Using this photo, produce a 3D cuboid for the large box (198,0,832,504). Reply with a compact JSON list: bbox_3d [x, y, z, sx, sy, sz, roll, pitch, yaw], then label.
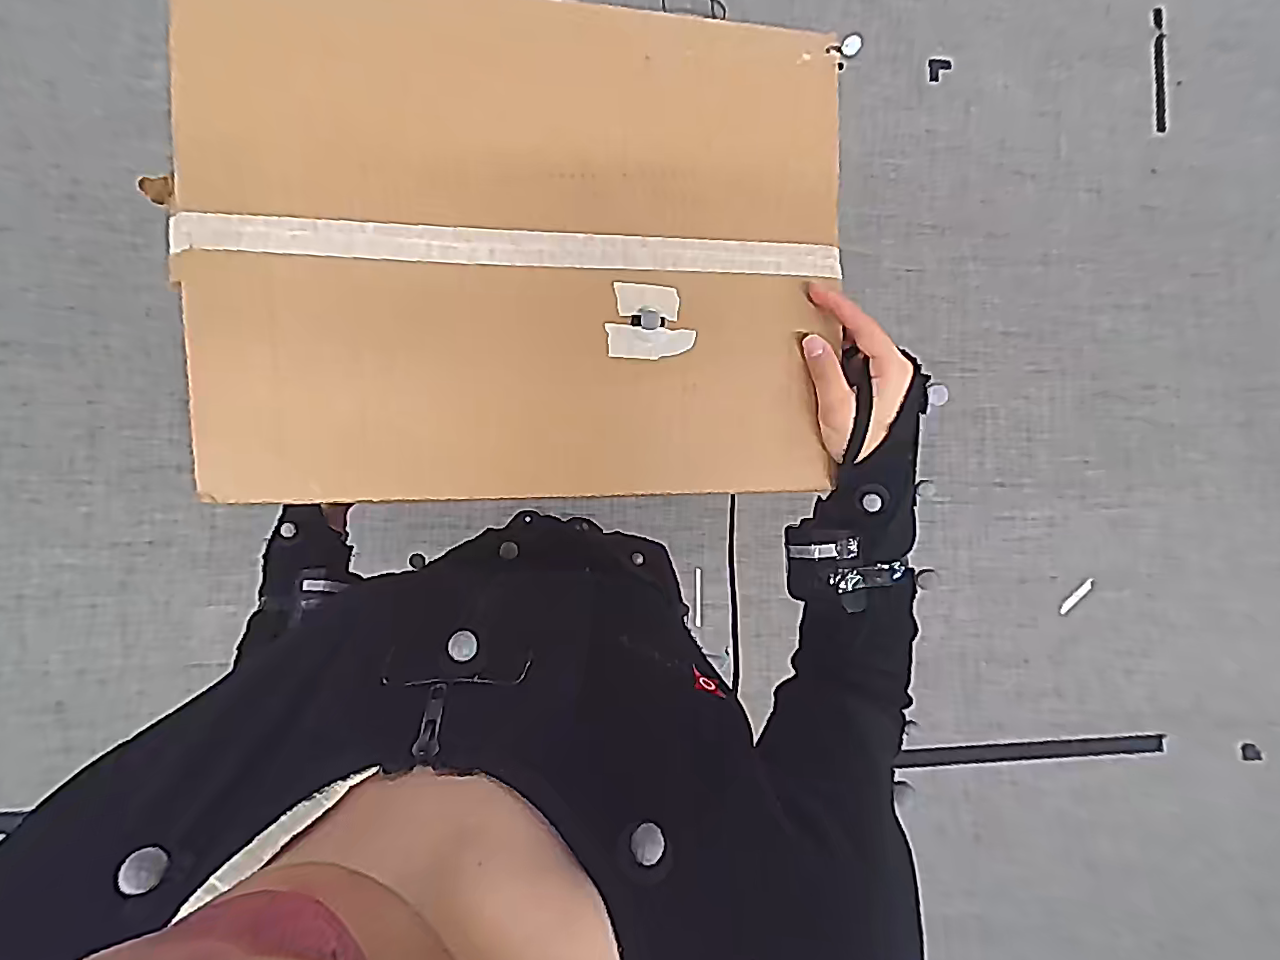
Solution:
[{"bbox_3d":[-0.086,-0.152,0.500,0.408,0.320,0.320,-1,93,-11],"label":"large box"}]
